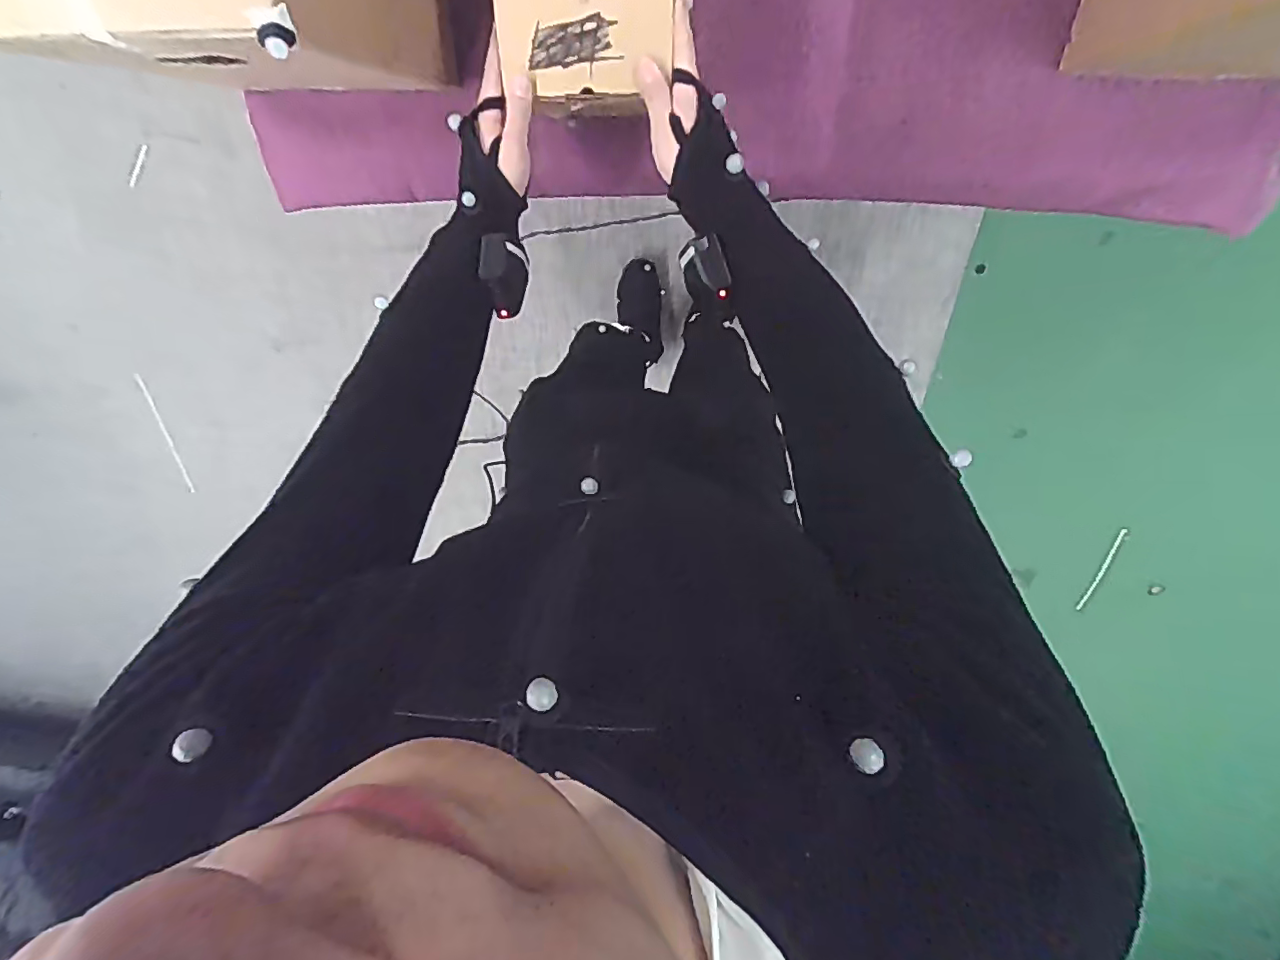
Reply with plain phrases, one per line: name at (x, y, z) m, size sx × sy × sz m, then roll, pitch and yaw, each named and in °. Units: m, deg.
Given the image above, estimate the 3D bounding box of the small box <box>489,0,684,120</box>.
small box at (-0.043, -0.470, 0.540) m, size 0.168 × 0.176 × 0.179 m, roll 3°, pitch 118°, yaw 8°
